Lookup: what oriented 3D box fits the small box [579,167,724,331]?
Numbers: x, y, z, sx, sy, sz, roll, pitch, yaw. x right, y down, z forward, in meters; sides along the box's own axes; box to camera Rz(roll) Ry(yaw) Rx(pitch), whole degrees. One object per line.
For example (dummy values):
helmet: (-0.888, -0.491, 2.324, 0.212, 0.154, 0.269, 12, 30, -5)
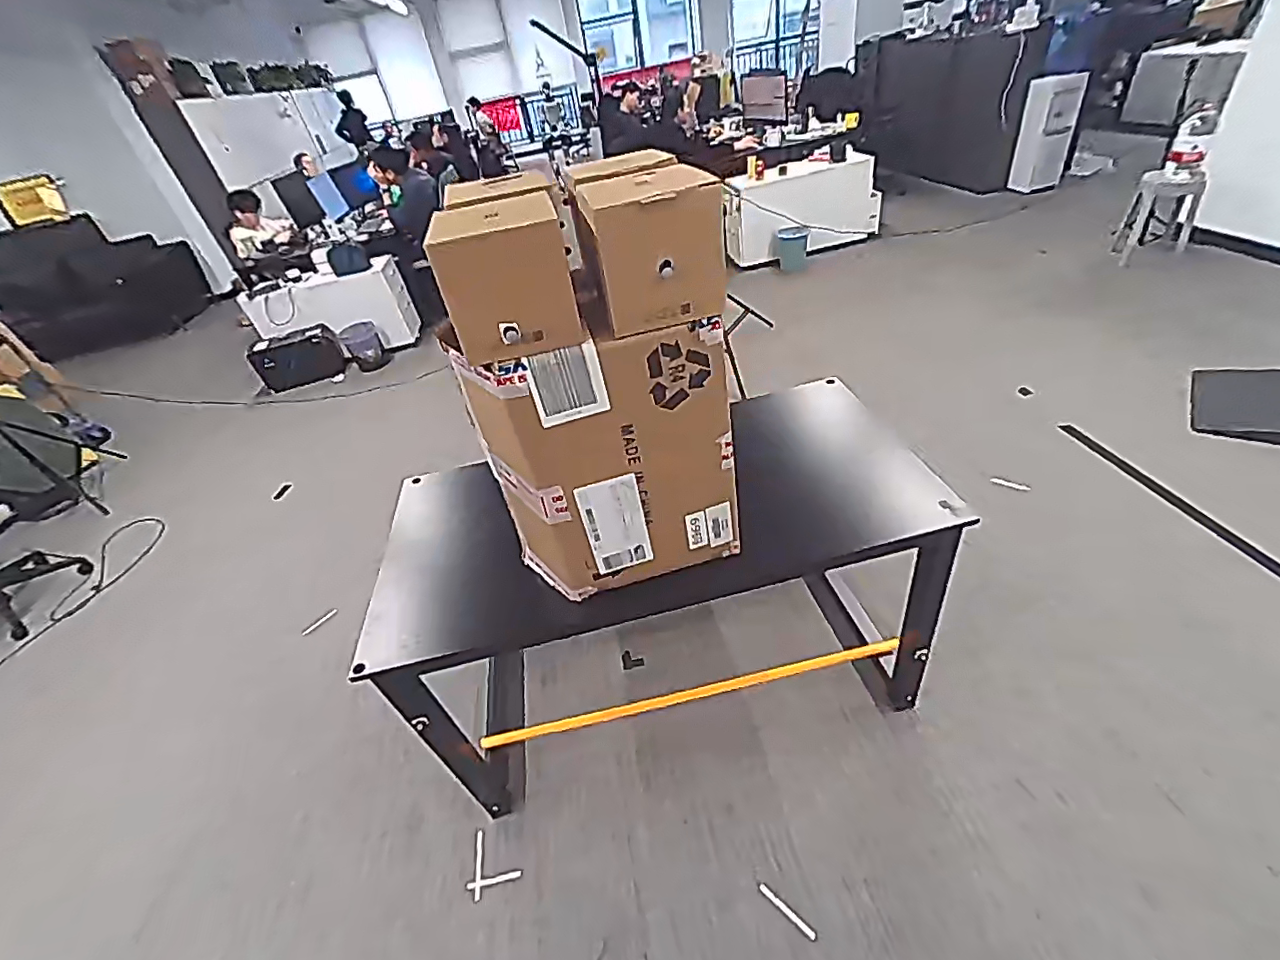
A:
small box: (0.017, -0.324, 0.769, 0.168, 0.176, 0.179, -13, 39, -5)
